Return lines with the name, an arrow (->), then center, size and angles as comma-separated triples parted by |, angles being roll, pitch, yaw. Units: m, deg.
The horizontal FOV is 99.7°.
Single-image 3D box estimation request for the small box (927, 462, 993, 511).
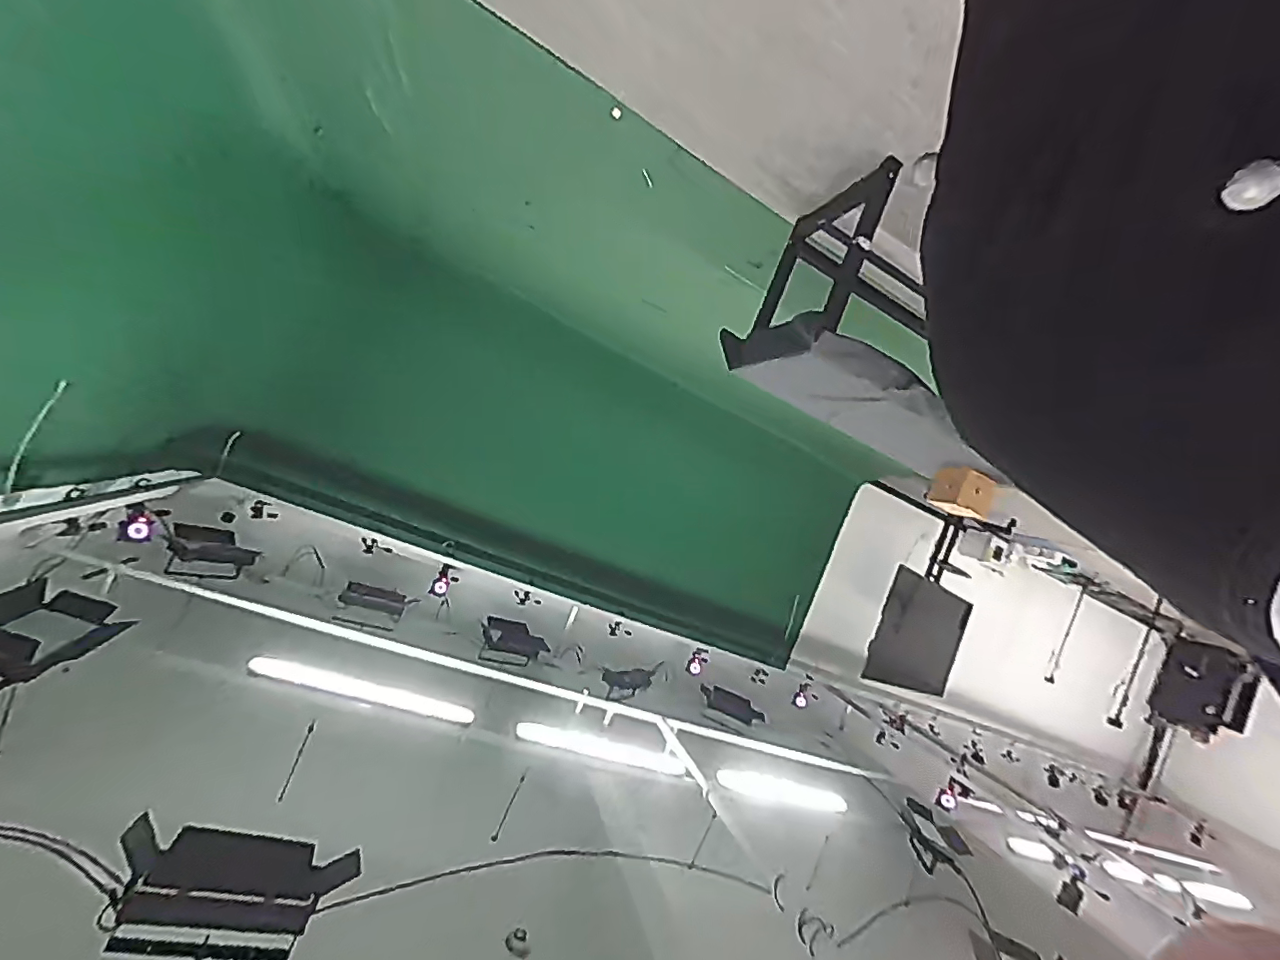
small box -> 1.417, 0.025, 2.382 | 0.168, 0.176, 0.179 | 24, 177, -14
